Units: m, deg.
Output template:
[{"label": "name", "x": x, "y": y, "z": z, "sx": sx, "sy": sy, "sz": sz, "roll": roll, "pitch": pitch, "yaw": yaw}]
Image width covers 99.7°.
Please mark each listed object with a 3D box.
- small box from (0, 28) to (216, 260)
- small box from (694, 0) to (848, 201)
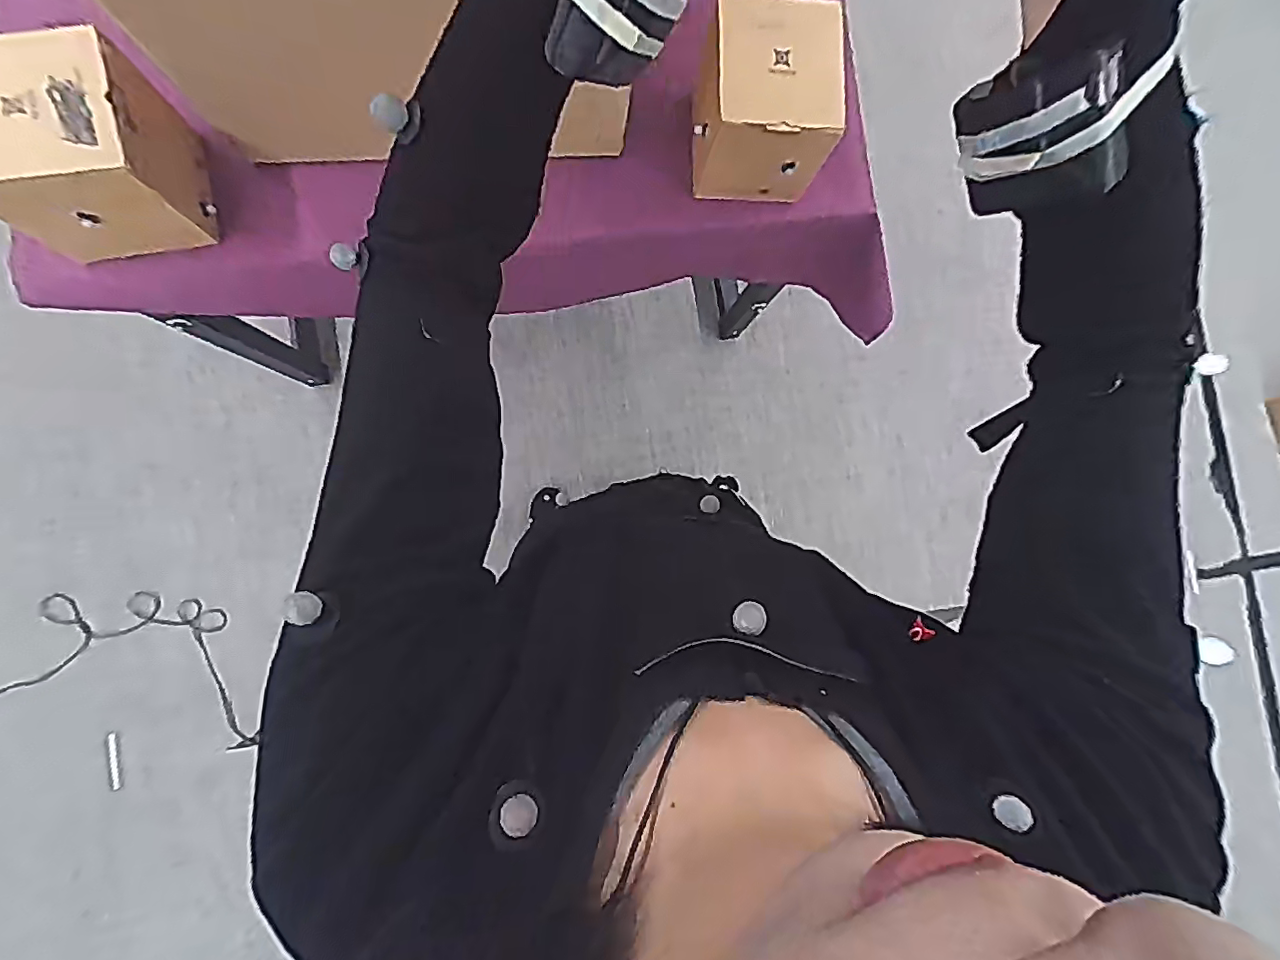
[{"label": "small box", "x": -0.659, "y": -0.393, "z": 0.656, "sx": 0.179, "sy": 0.176, "sz": 0.168, "roll": -13, "pitch": 87, "yaw": -8}, {"label": "small box", "x": 0.174, "y": -0.522, "z": 0.762, "sx": 0.168, "sy": 0.176, "sz": 0.179, "roll": -1, "pitch": 86, "yaw": -7}]
